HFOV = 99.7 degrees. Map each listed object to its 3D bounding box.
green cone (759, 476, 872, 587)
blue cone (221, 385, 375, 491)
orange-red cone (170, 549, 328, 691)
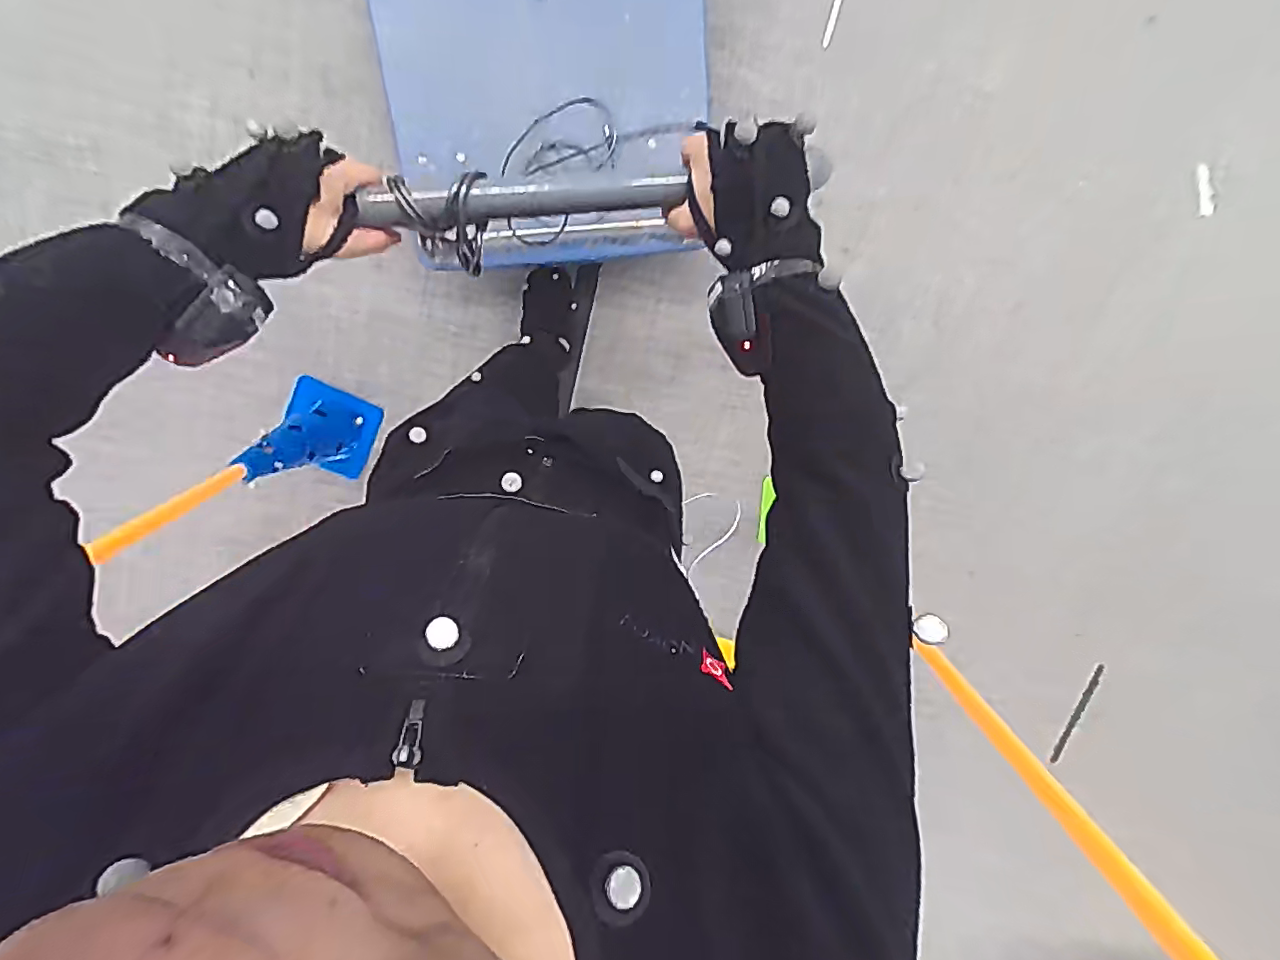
[{"bbox_3d":[0.434,0.140,1.270,0.200,0.368,0.202,-1,108,-5],"label":"green cone"},{"bbox_3d":[-0.719,-0.062,1.108,0.193,0.380,0.192,27,104,-13],"label":"blue cone"},{"bbox_3d":[-0.898,0.334,1.196,0.199,0.360,0.198,-31,108,3],"label":"orange-red cone"}]
